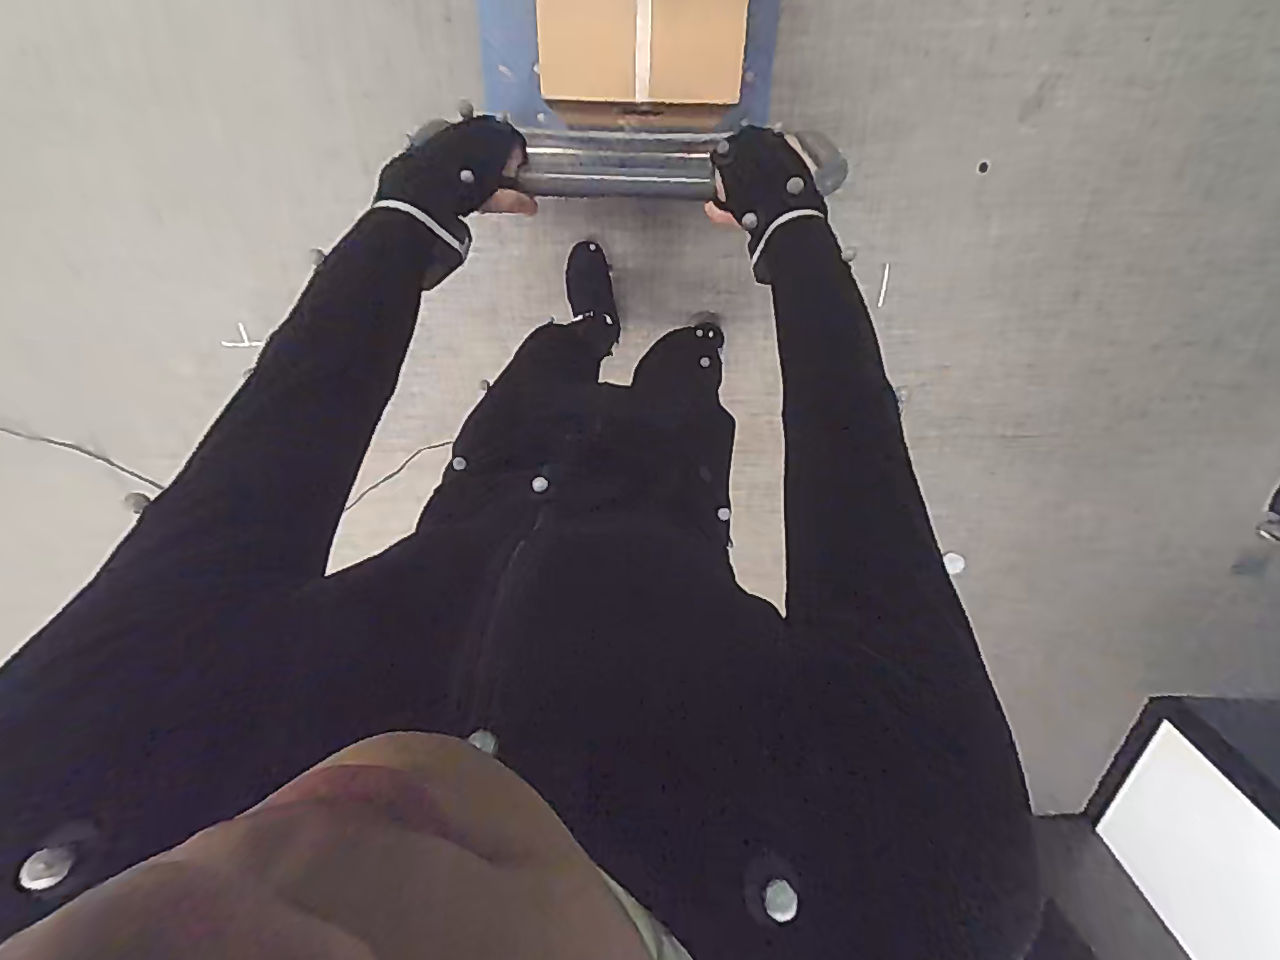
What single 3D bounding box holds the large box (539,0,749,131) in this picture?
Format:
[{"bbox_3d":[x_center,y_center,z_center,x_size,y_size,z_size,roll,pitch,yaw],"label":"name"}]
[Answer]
[{"bbox_3d":[0.007,-0.834,0.898,0.320,0.320,0.408,1,117,-2],"label":"large box"}]
